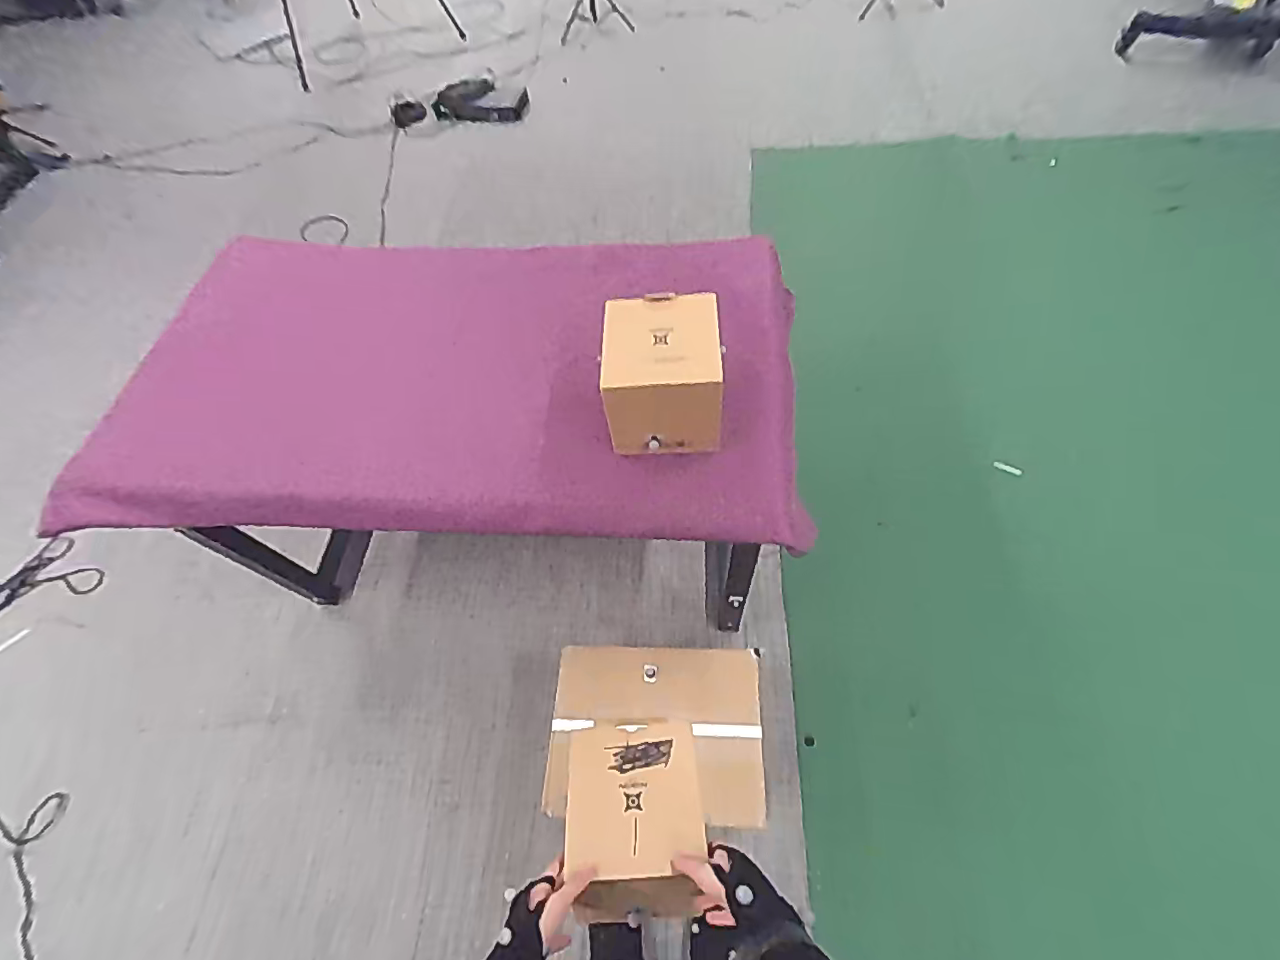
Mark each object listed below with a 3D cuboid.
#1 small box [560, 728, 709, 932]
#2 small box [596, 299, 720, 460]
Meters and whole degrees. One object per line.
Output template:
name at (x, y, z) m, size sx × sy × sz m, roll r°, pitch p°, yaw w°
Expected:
small box at (-0.008, 0.450, 0.700) m, size 0.168 × 0.176 × 0.179 m, roll -3°, pitch 38°, yaw -1°
small box at (0.032, -0.148, 0.822) m, size 0.168 × 0.176 × 0.179 m, roll -2°, pitch 58°, yaw 5°
